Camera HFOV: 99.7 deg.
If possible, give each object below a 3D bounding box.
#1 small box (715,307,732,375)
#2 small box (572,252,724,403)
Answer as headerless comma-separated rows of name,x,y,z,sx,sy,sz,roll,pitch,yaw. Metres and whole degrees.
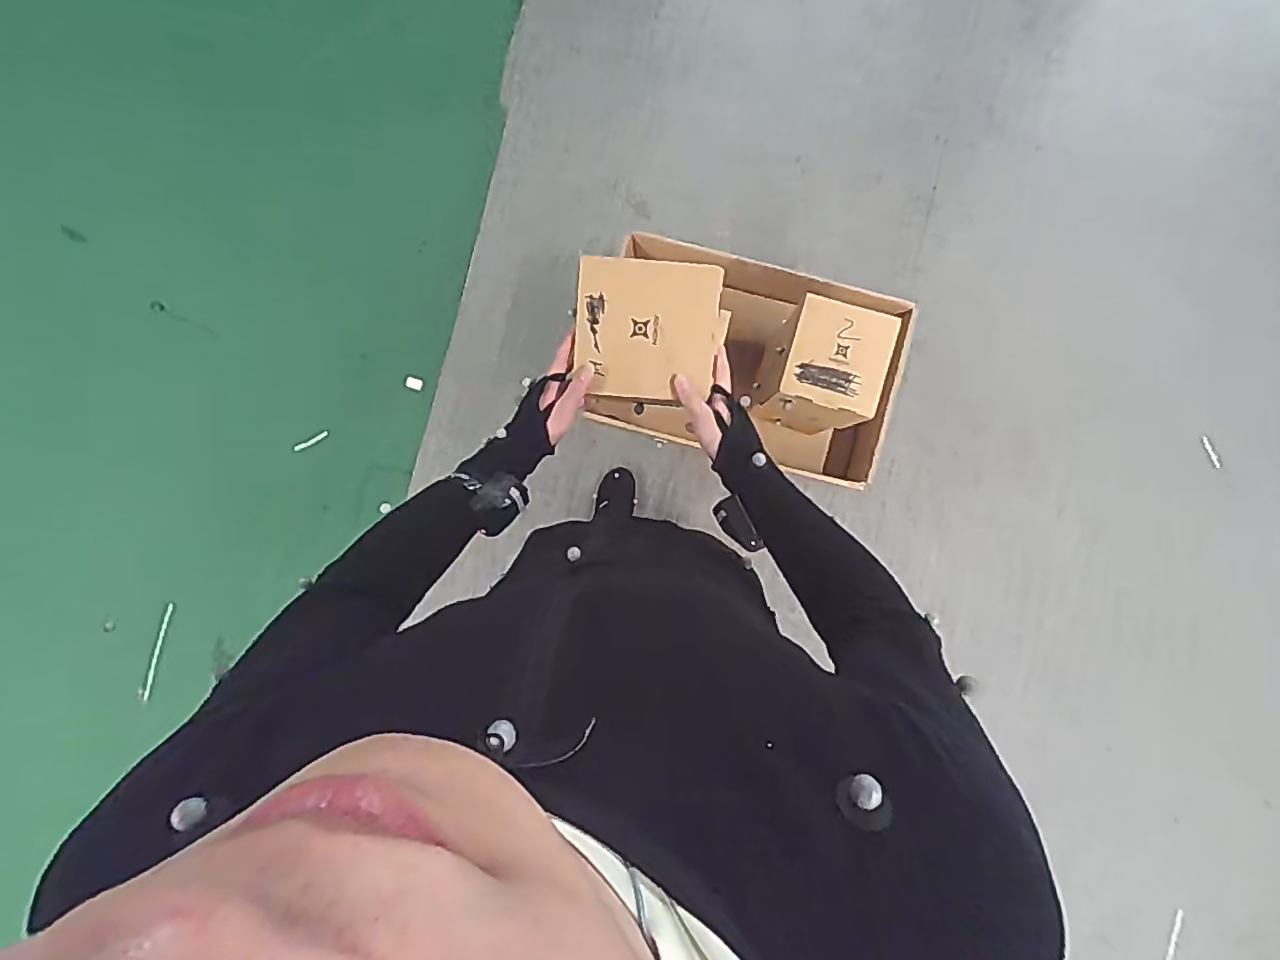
small box,0.080,-0.277,1.147,0.179,0.176,0.168,14,90,1
small box,0.006,-0.192,0.730,0.179,0.176,0.168,3,96,-2
